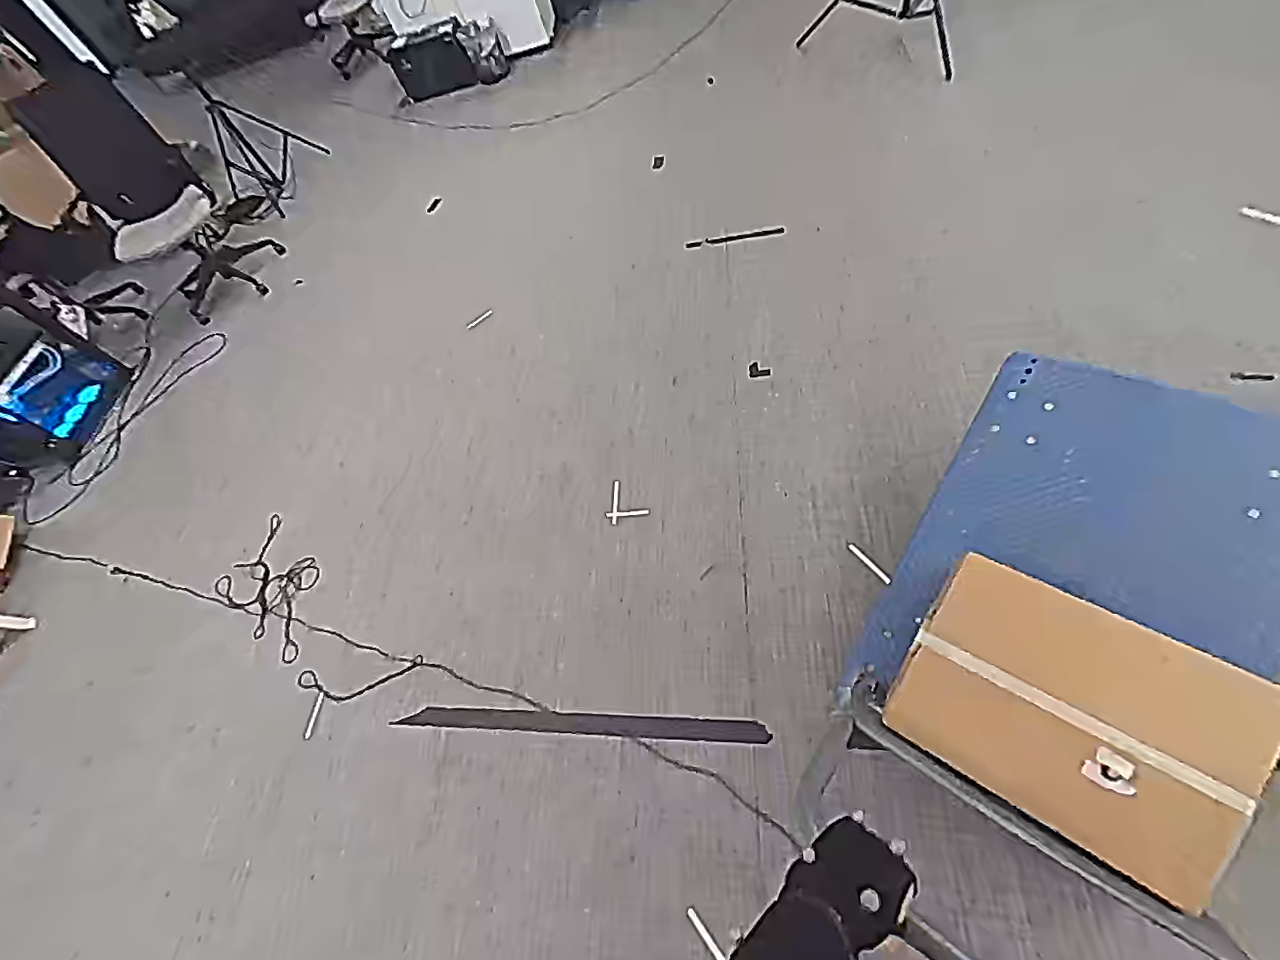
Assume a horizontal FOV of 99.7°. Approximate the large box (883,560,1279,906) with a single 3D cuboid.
[{"bbox_3d":[0.678,0.375,0.922,0.408,0.320,0.320,28,90,28],"label":"large box"}]
